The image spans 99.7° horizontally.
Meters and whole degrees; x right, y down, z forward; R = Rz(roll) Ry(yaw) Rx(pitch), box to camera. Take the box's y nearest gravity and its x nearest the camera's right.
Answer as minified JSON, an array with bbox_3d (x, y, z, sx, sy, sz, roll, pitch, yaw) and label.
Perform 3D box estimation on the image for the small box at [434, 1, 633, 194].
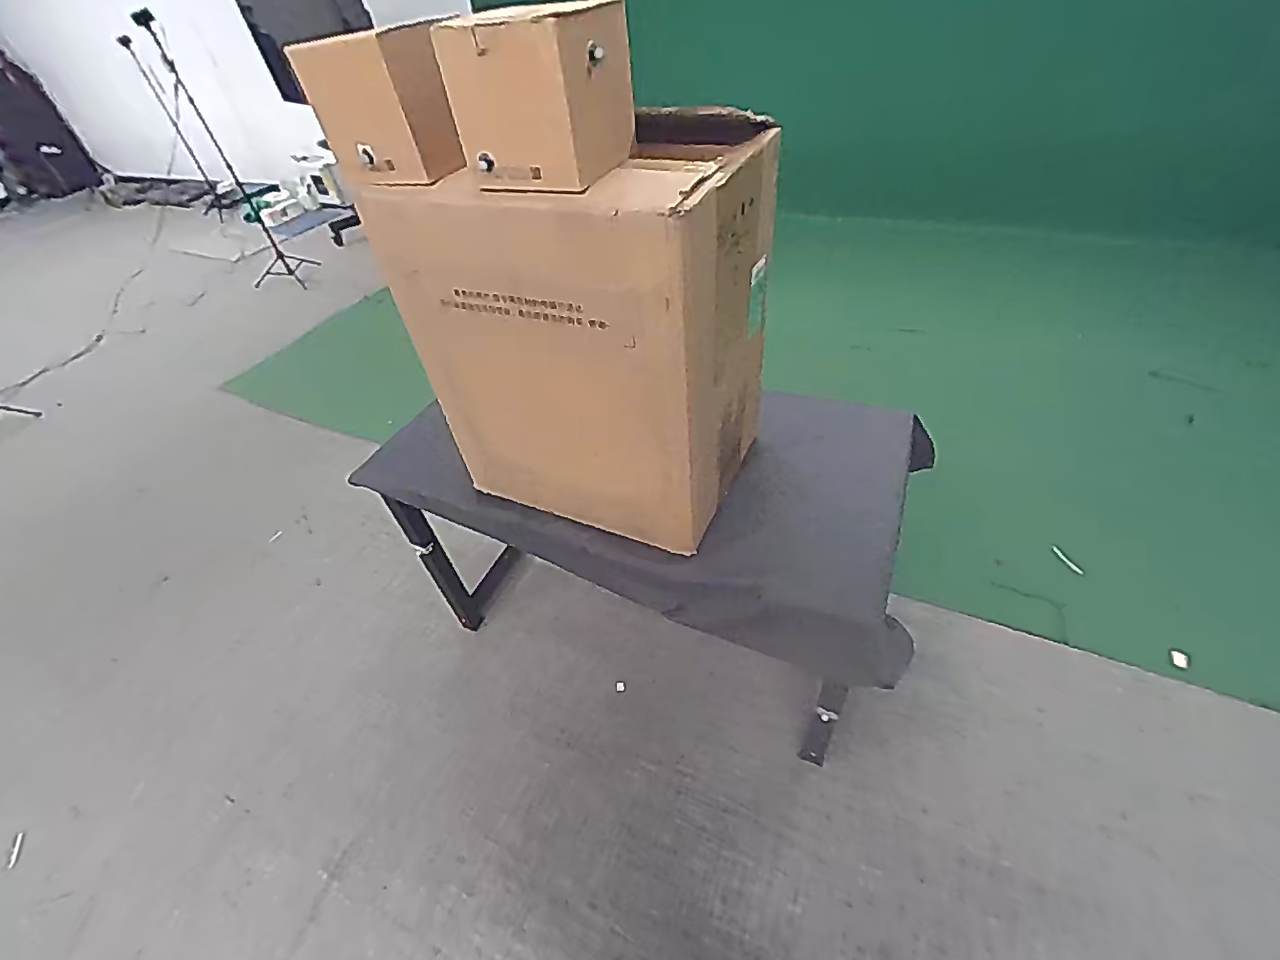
[{"bbox_3d":[-0.117,-0.479,0.686,0.168,0.176,0.179,14,48,20],"label":"small box"}]

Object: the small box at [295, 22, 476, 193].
[{"bbox_3d":[-0.337,-0.537,0.786,0.168,0.176,0.179,11,49,23],"label":"small box"}]
